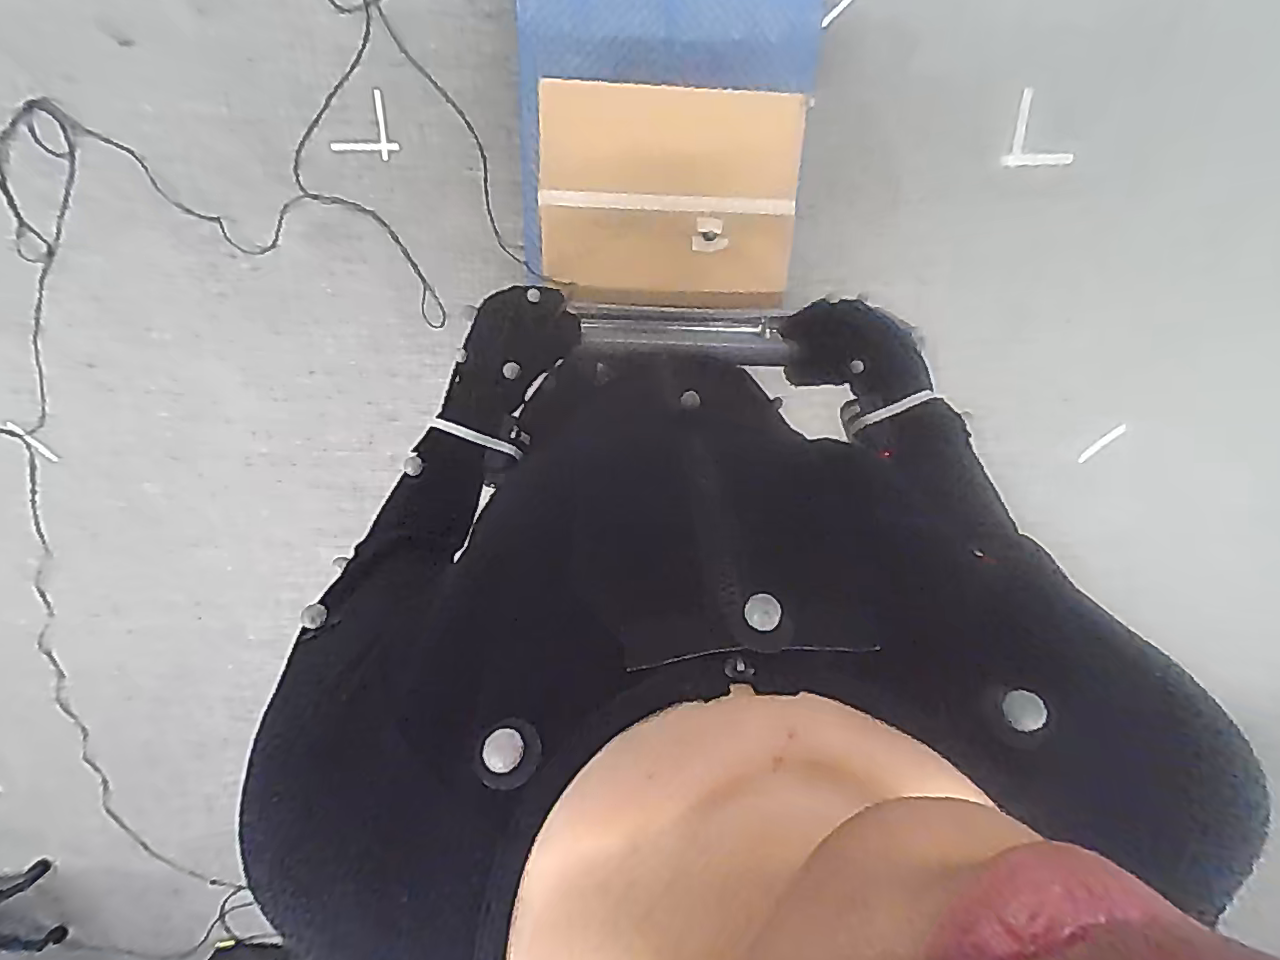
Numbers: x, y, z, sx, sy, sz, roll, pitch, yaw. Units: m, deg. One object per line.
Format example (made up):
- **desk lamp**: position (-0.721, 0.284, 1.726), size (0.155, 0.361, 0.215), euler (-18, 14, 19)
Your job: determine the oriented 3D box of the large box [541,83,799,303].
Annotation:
- **large box**: position (0.036, -0.497, 1.011), size (0.408, 0.320, 0.320), euler (0, 109, -4)
